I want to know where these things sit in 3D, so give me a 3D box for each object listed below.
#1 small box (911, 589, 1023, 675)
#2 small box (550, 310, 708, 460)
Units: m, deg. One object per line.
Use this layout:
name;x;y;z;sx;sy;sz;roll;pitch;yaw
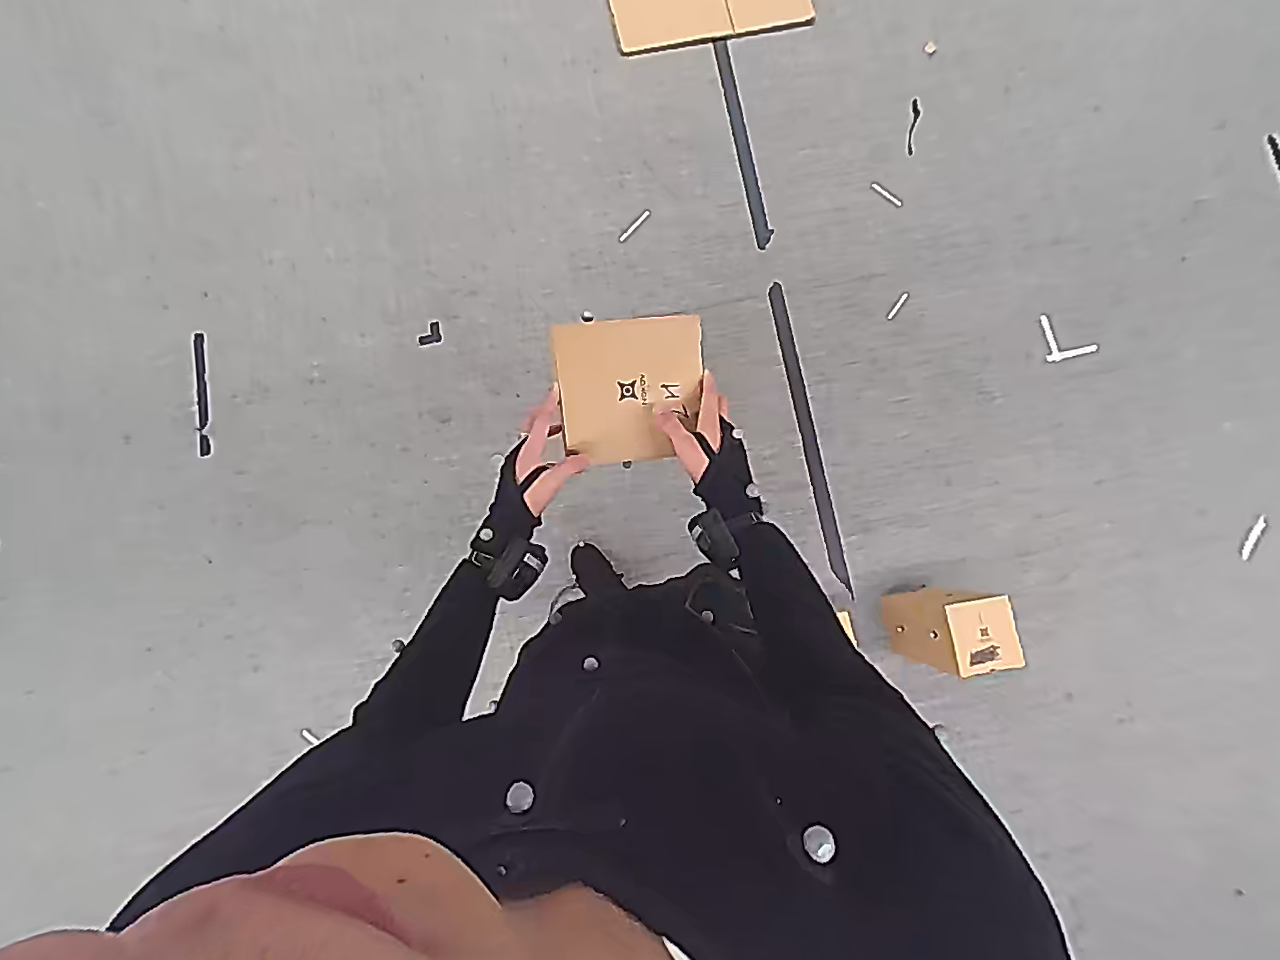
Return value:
small box;0.834;0.384;1.395;0.168;0.176;0.179;-9;82;-3
small box;-0.022;-0.124;0.709;0.179;0.176;0.168;-7;102;-10
